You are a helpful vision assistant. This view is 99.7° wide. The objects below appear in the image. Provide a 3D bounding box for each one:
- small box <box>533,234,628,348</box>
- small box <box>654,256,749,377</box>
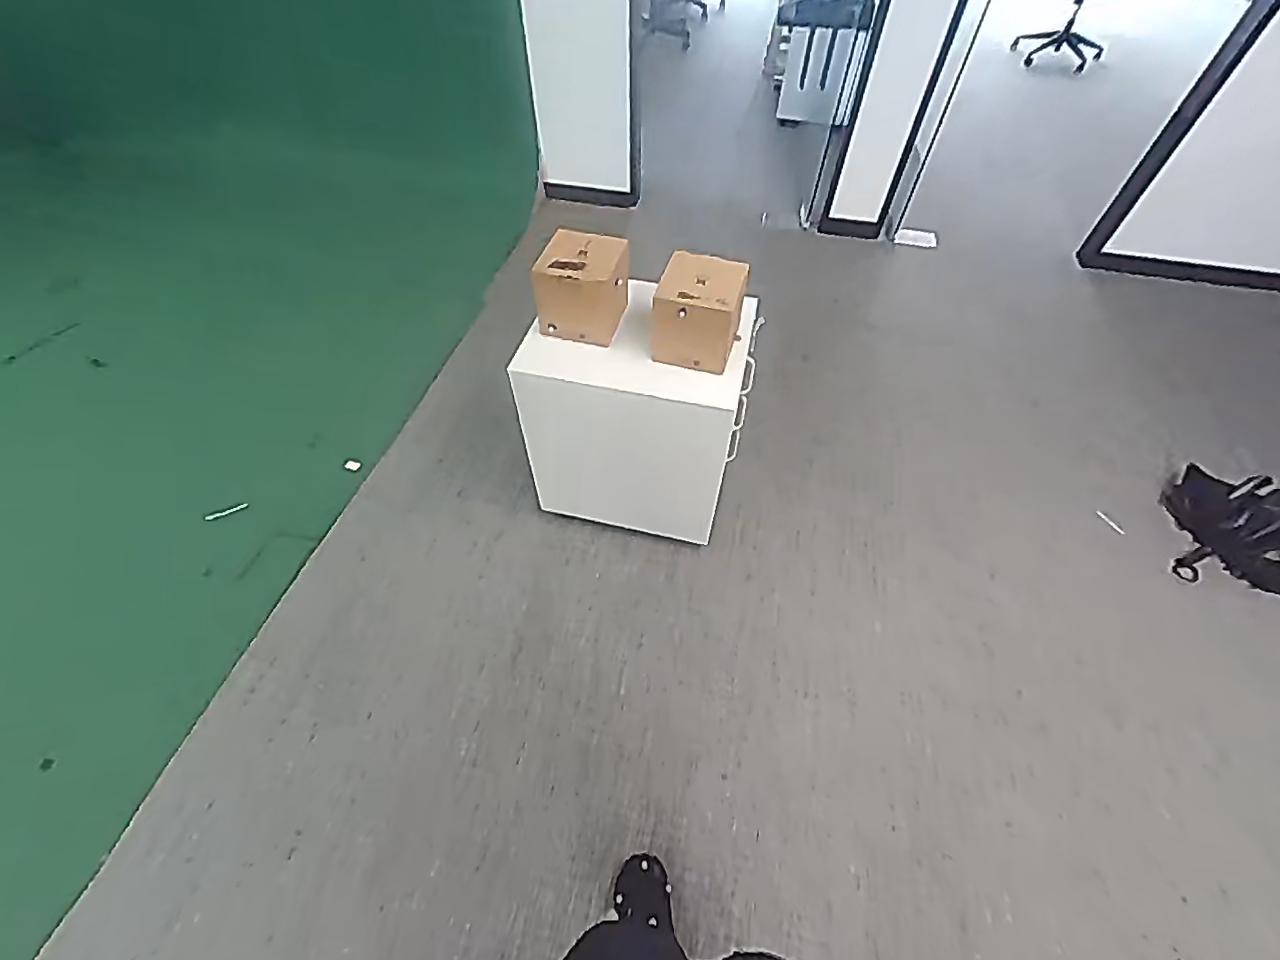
[{"bbox_3d":[-0.126,-0.426,1.229,0.168,0.176,0.179,12,54,8],"label":"small box"},{"bbox_3d":[0.128,-0.355,1.177,0.168,0.176,0.179,14,54,11],"label":"small box"}]
